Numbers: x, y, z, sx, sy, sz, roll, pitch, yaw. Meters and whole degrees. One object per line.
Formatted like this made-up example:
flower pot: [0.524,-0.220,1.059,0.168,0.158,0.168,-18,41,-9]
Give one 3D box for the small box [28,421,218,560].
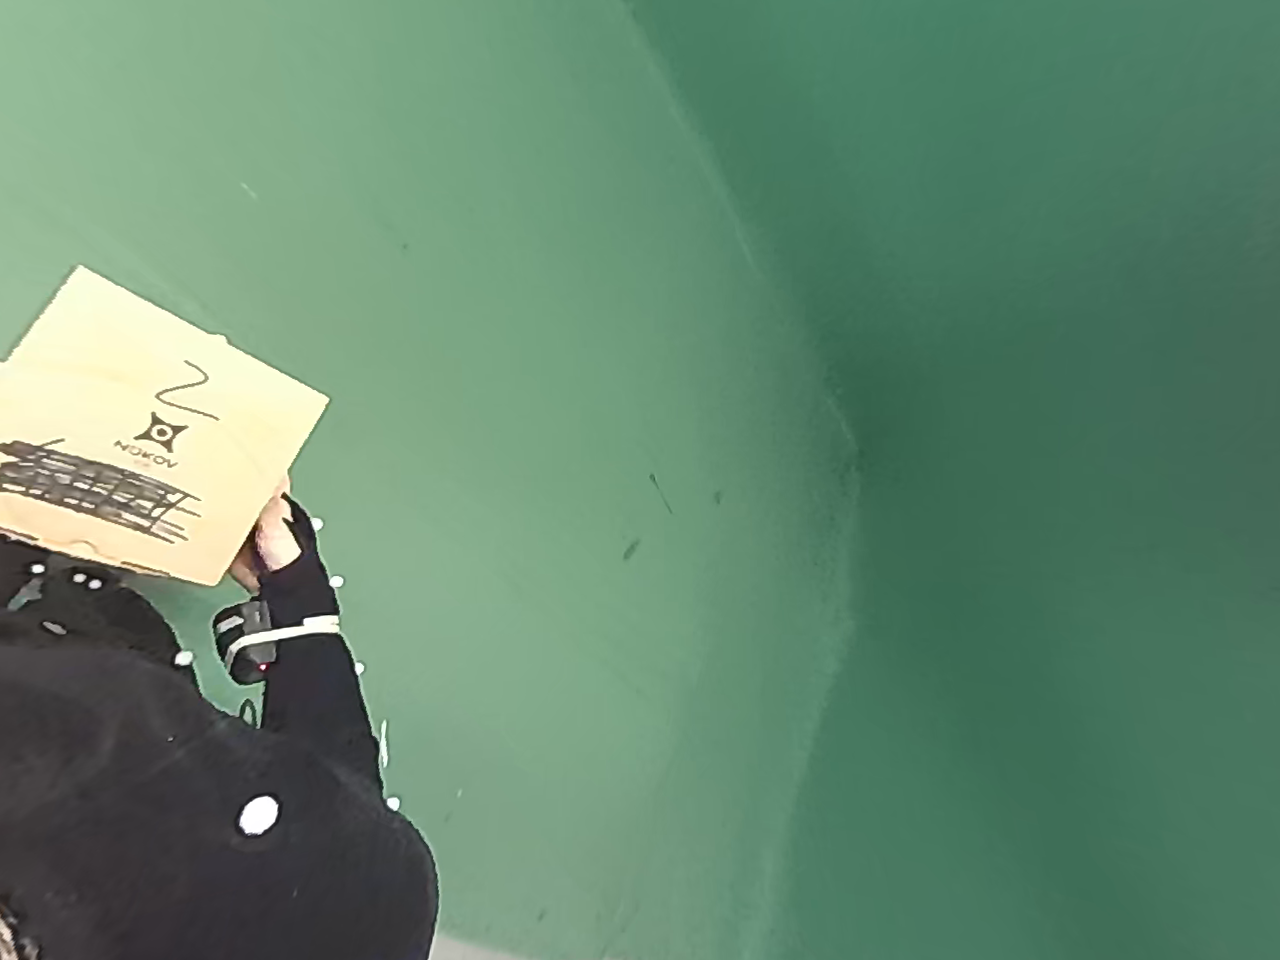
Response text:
small box: [-0.903,0.021,0.952,0.168,0.176,0.179,52,54,-29]
